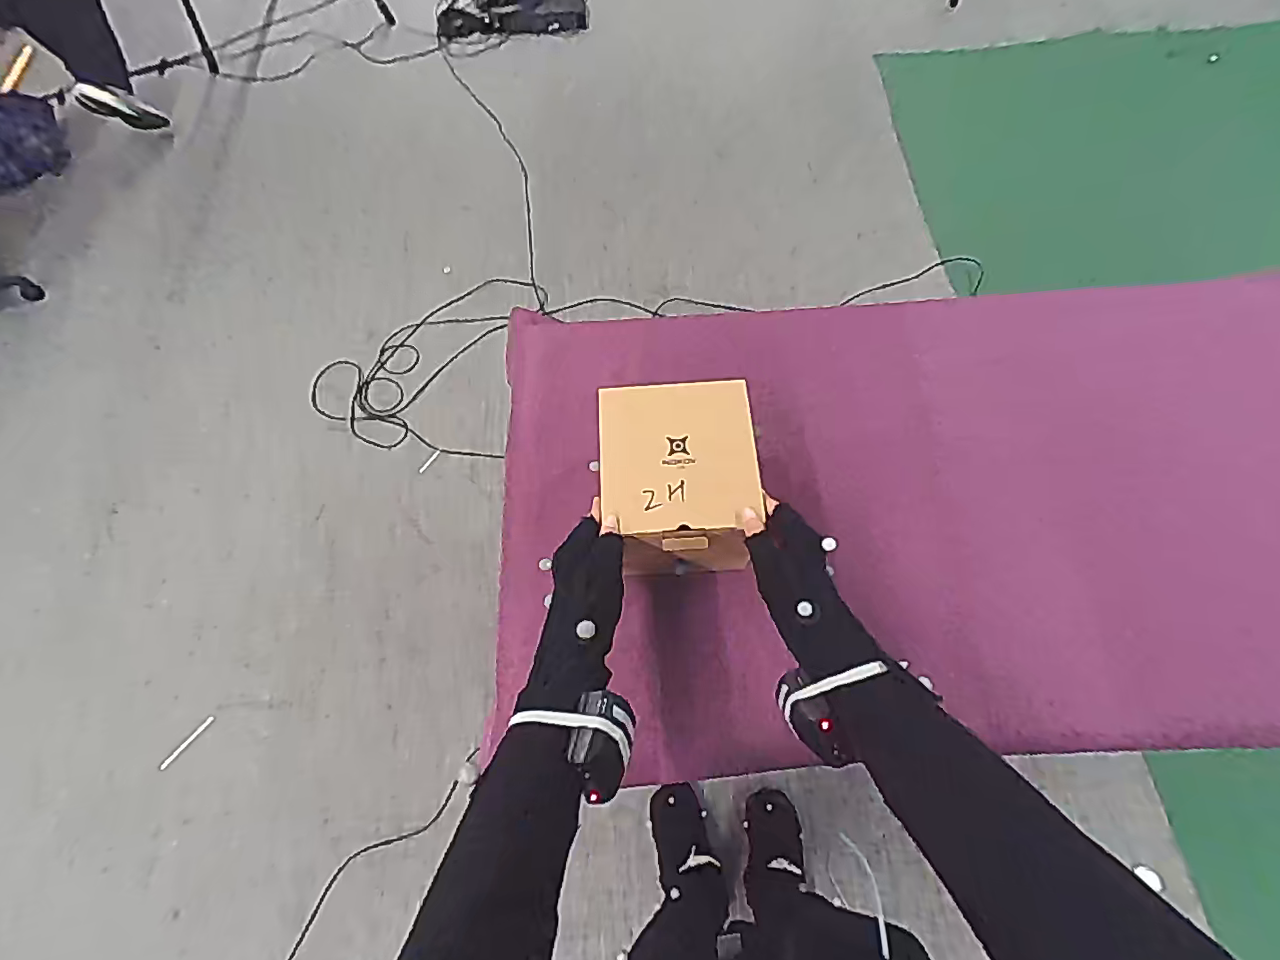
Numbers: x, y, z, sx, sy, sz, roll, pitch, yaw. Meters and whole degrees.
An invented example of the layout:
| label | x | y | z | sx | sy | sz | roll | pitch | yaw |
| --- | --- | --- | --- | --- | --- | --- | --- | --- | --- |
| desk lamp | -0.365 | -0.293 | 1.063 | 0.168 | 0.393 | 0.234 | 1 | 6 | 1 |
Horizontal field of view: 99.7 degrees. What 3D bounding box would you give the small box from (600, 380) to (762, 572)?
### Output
| label | x | y | z | sx | sy | sz | roll | pitch | yaw |
| --- | --- | --- | --- | --- | --- | --- | --- | --- | --- |
| small box | 0.042 | 0.003 | 0.646 | 0.168 | 0.176 | 0.179 | -4 | 67 | 2 |
